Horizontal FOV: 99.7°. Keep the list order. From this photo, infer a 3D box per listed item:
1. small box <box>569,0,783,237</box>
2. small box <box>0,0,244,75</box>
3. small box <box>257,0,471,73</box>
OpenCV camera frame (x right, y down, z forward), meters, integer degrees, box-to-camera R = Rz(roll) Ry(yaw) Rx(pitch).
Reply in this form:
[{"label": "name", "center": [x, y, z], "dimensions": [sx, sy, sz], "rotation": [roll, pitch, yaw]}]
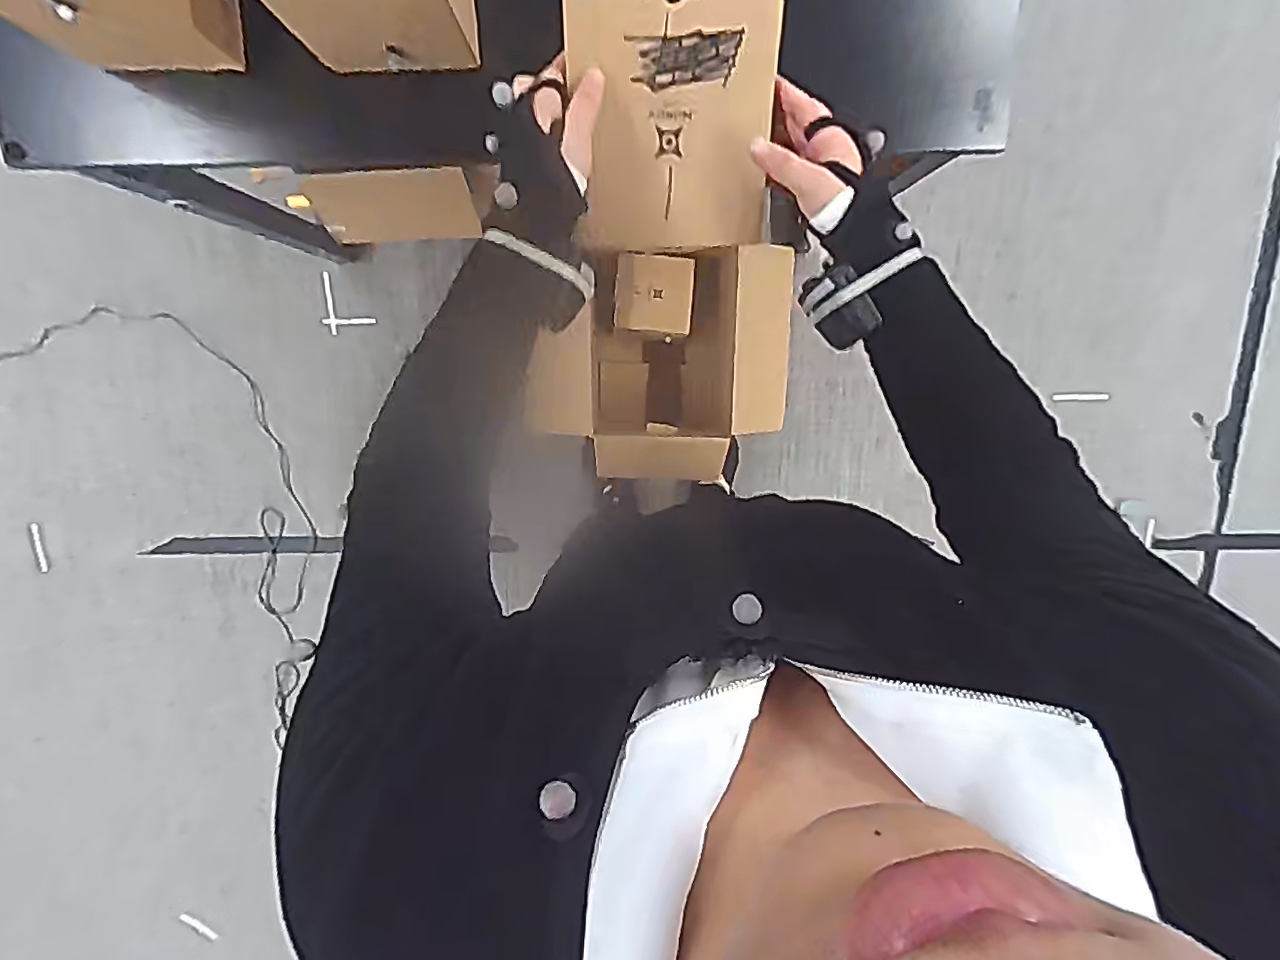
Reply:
[{"label": "small box", "center": [0.019, -0.326, 0.504], "dimensions": [0.168, 0.176, 0.179], "rotation": [-1, 117, -4]}, {"label": "small box", "center": [-0.537, -0.529, 0.527], "dimensions": [0.179, 0.176, 0.168], "rotation": [0, 102, -3]}, {"label": "small box", "center": [-0.274, -0.536, 0.533], "dimensions": [0.179, 0.176, 0.168], "rotation": [-3, 102, -2]}]
